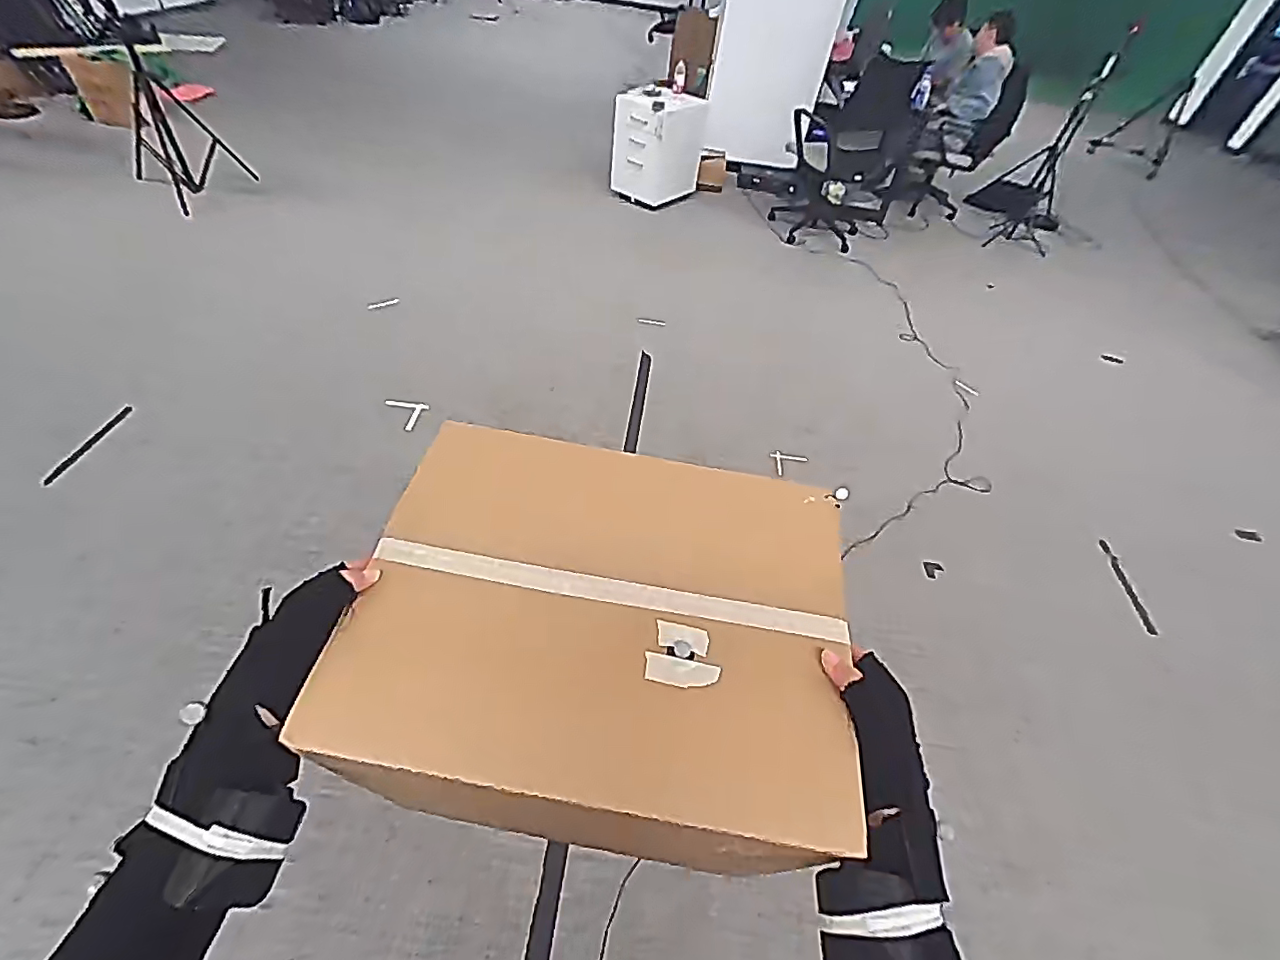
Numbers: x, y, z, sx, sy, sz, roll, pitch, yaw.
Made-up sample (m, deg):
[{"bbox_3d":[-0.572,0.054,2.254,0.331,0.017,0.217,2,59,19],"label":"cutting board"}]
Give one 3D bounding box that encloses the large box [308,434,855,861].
[{"bbox_3d":[-0.039,0.190,0.589,0.408,0.320,0.320,10,53,1],"label":"large box"}]
